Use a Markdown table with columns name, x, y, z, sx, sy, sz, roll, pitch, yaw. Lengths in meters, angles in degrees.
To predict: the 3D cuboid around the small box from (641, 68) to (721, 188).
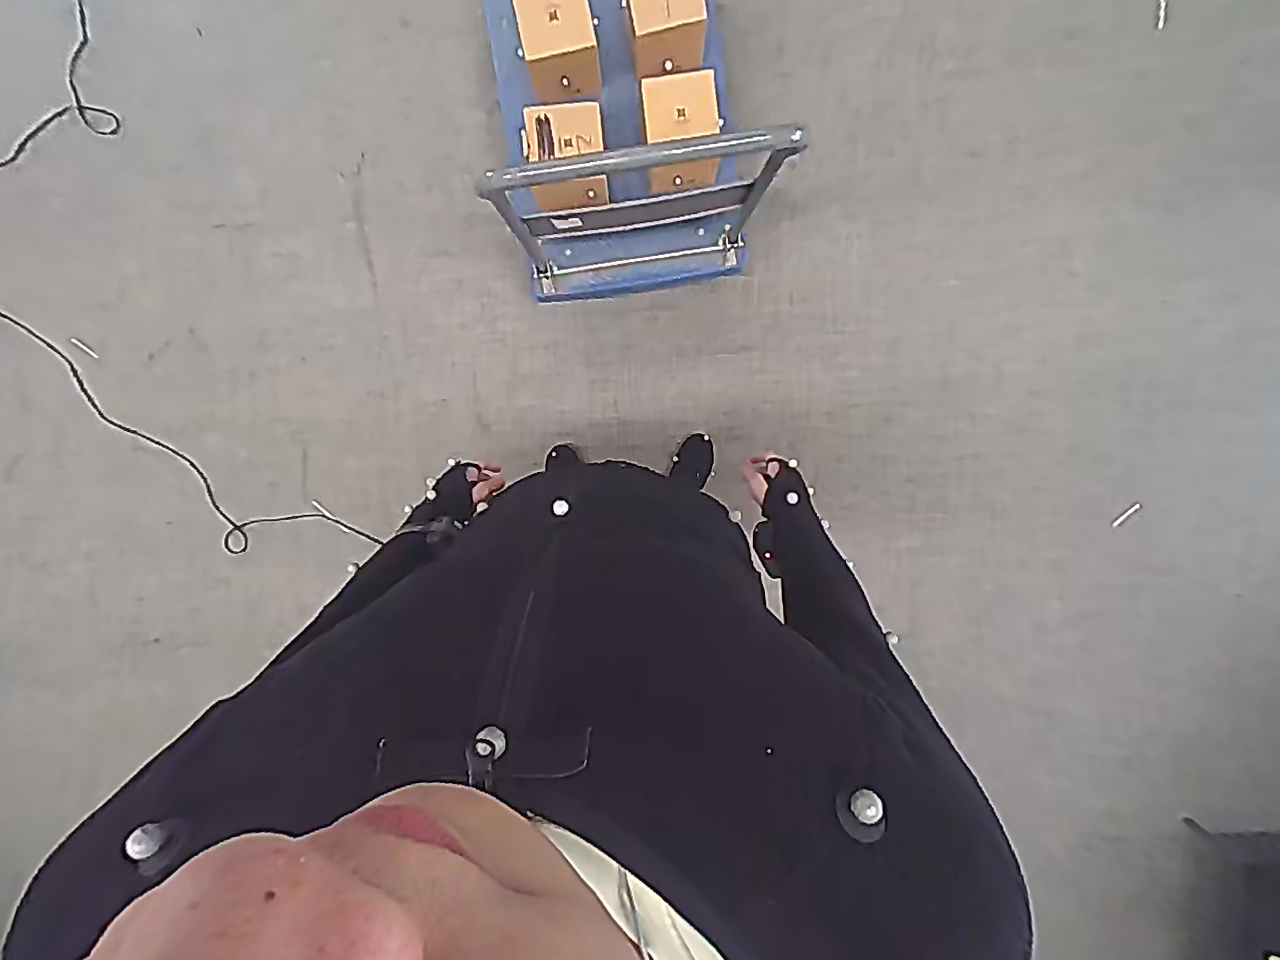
| name | x | y | z | sx | sy | sz | roll | pitch | yaw |
| --- | --- | --- | --- | --- | --- | --- | --- | --- | --- |
| small box | 0.092 | -0.832 | 1.292 | 0.168 | 0.176 | 0.179 | -7 | 96 | 1 |

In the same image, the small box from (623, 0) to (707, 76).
| name | x | y | z | sx | sy | sz | roll | pitch | yaw |
| --- | --- | --- | --- | --- | --- | --- | --- | --- | --- |
| small box | 0.052 | -1.098 | 1.262 | 0.168 | 0.176 | 0.179 | -12 | 97 | 3 |

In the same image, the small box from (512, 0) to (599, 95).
| name | x | y | z | sx | sy | sz | roll | pitch | yaw |
| --- | --- | --- | --- | --- | --- | --- | --- | --- | --- |
| small box | -0.195 | -1.045 | 1.271 | 0.168 | 0.176 | 0.179 | -11 | 96 | 1 |
